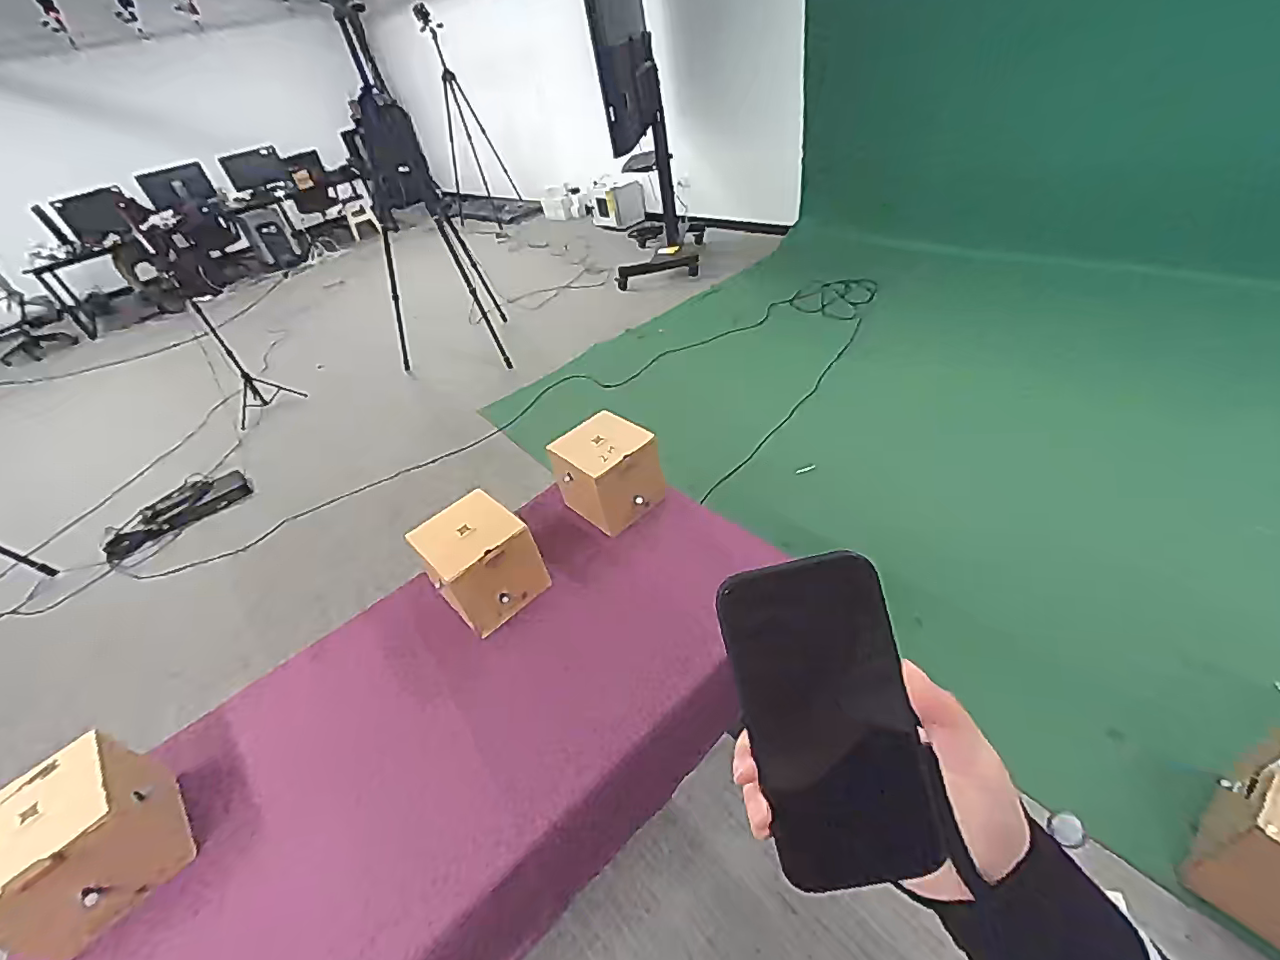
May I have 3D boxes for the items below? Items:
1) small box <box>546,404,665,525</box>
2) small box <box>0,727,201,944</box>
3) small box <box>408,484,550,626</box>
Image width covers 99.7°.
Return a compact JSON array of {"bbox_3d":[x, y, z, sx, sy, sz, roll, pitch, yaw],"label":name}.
[{"bbox_3d":[-0.069,-0.032,1.161,0.168,0.176,0.179,-37,46,-24],"label":"small box"},{"bbox_3d":[-0.761,0.492,0.749,0.179,0.176,0.168,27,53,36],"label":"small box"},{"bbox_3d":[-0.301,0.142,1.030,0.168,0.176,0.179,-38,47,-26],"label":"small box"}]
